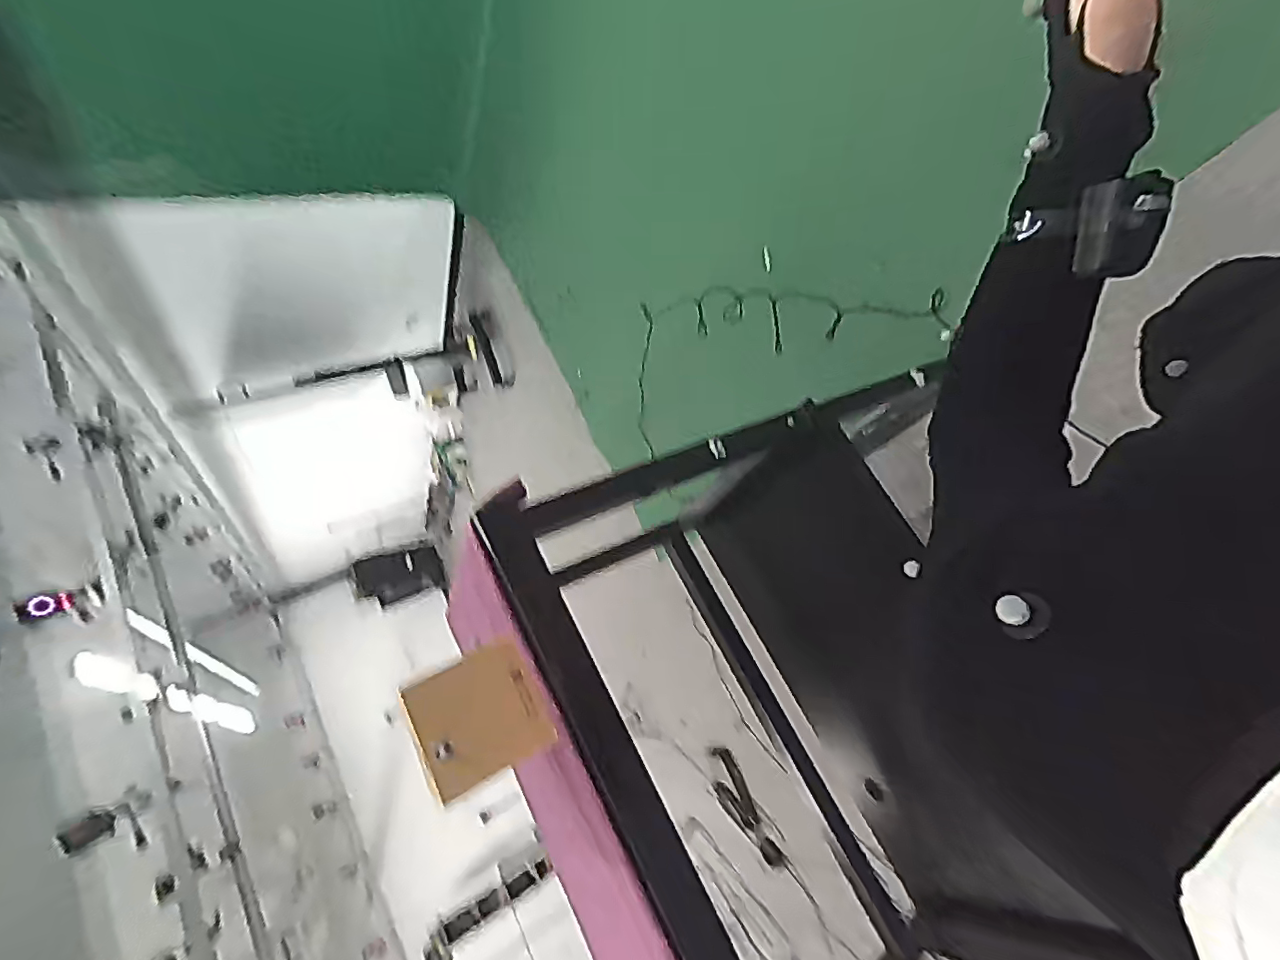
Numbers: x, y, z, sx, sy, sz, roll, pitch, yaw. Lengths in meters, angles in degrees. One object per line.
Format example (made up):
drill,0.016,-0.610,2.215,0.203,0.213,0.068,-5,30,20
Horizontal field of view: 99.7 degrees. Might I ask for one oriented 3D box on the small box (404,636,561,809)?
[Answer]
small box,-0.236,0.352,0.808,0.168,0.176,0.179,62,148,11
